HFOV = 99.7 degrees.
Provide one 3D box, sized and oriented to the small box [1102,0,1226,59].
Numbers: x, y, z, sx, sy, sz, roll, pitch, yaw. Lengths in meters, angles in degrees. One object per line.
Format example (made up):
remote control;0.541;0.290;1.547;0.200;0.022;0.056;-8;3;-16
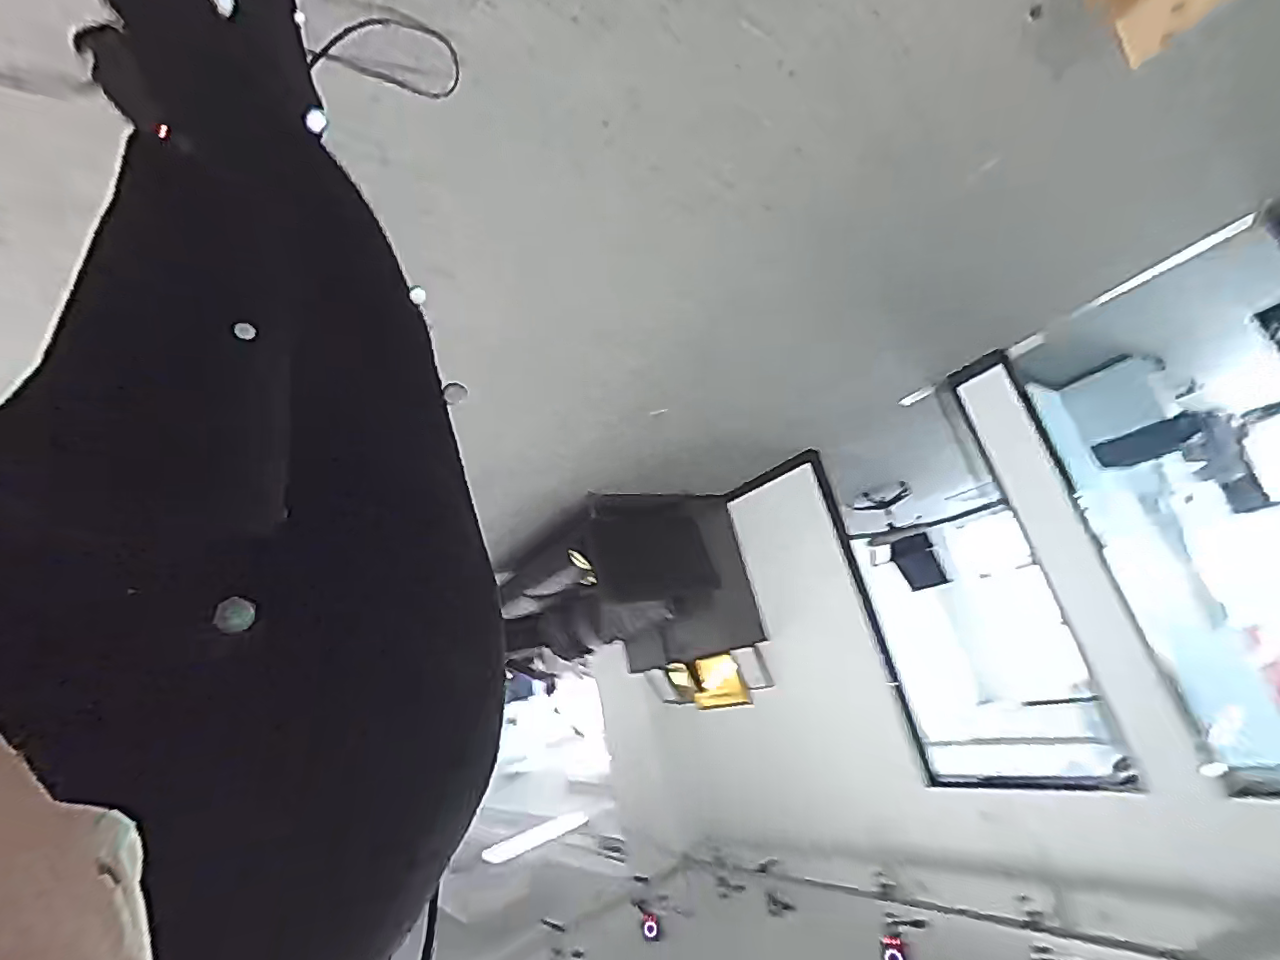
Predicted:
small box;0.946;-0.924;0.965;0.179;0.176;0.168;2;156;-39
